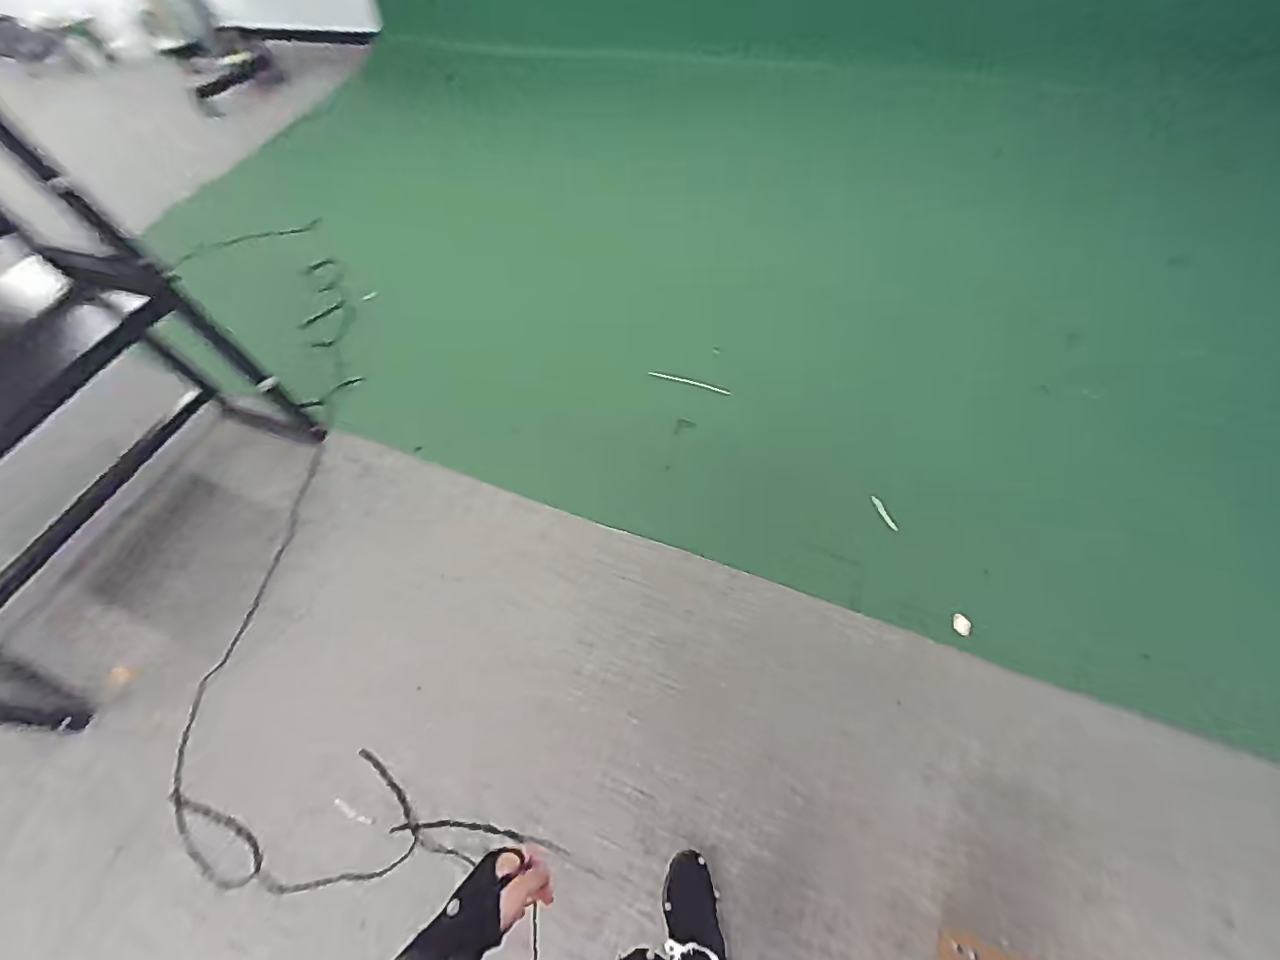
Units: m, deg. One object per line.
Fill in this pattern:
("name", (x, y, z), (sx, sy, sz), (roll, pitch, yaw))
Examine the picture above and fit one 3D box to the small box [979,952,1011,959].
("small box", (0.673, 0.925, 0.893), (0.179, 0.176, 0.168), (16, 62, 16))
